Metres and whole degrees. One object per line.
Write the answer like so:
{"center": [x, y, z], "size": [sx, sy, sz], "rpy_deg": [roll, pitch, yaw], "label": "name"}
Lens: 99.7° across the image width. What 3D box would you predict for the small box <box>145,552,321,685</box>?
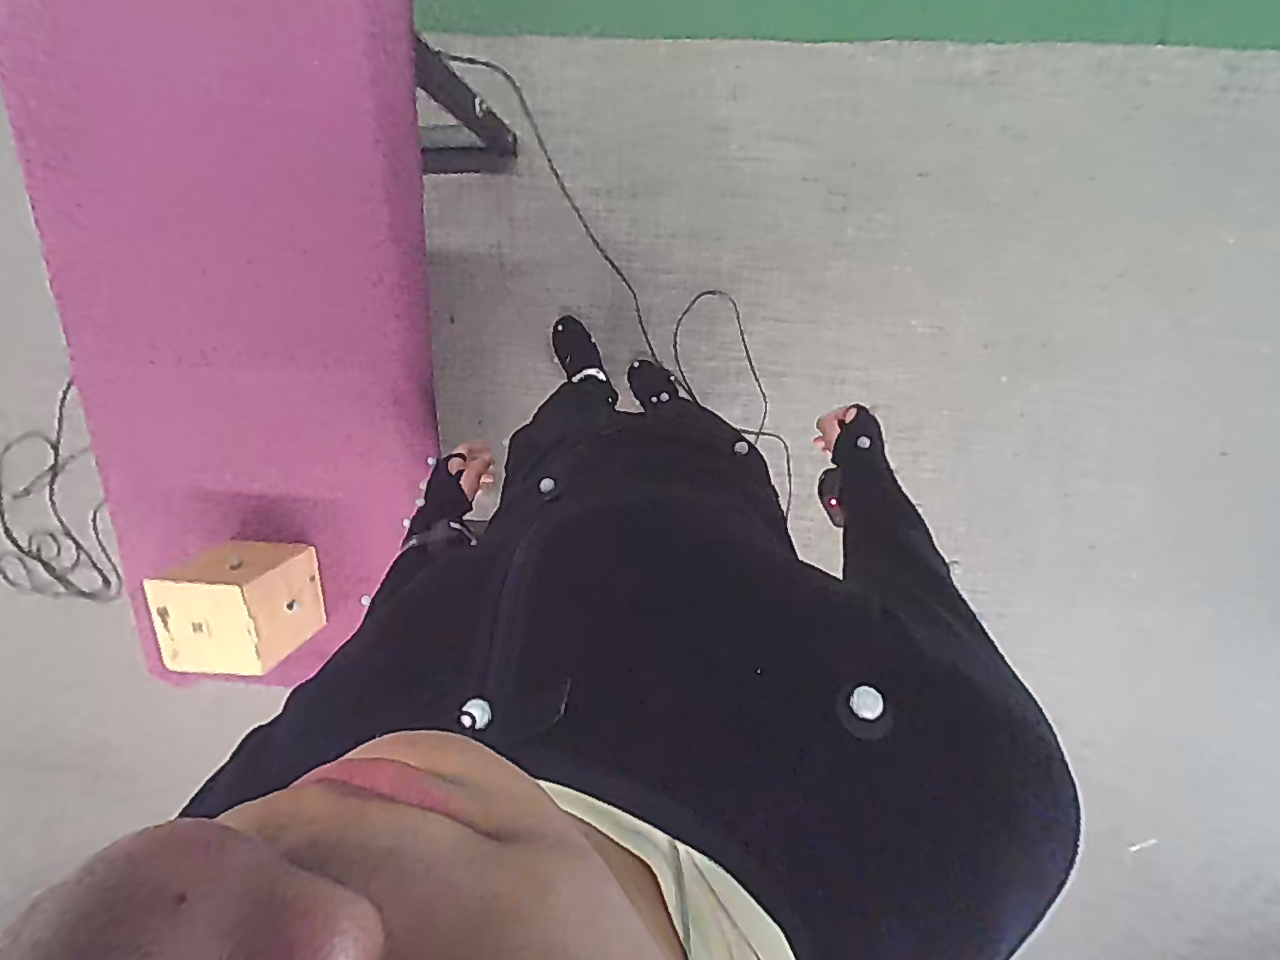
{"center": [-0.690, 0.234, 0.945], "size": [0.179, 0.176, 0.168], "rpy_deg": [1, 105, 5], "label": "small box"}
